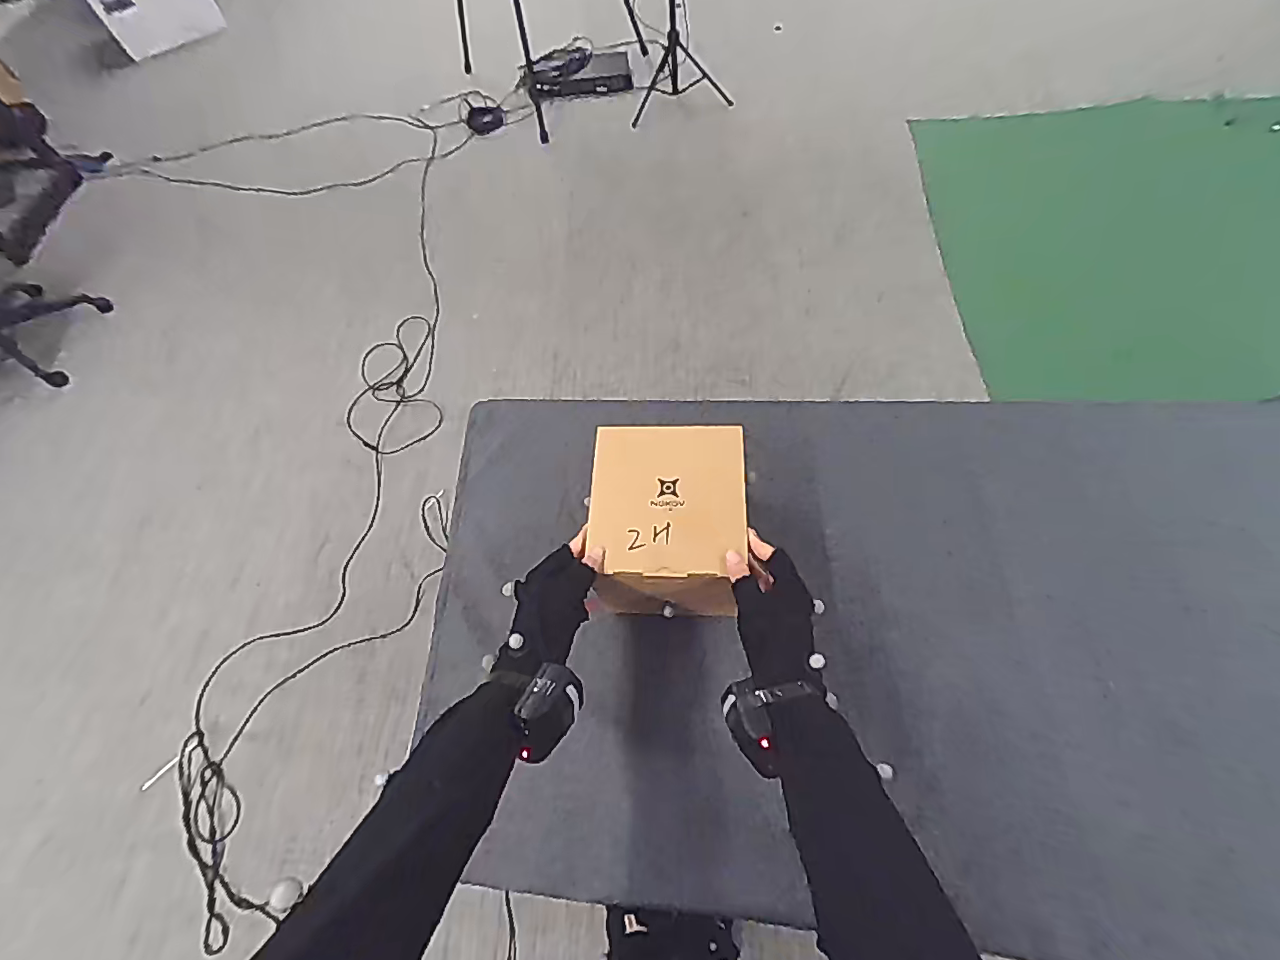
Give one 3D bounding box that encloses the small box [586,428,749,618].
[{"bbox_3d":[0.037,0.056,0.644,0.168,0.176,0.179,0,63,6],"label":"small box"}]
